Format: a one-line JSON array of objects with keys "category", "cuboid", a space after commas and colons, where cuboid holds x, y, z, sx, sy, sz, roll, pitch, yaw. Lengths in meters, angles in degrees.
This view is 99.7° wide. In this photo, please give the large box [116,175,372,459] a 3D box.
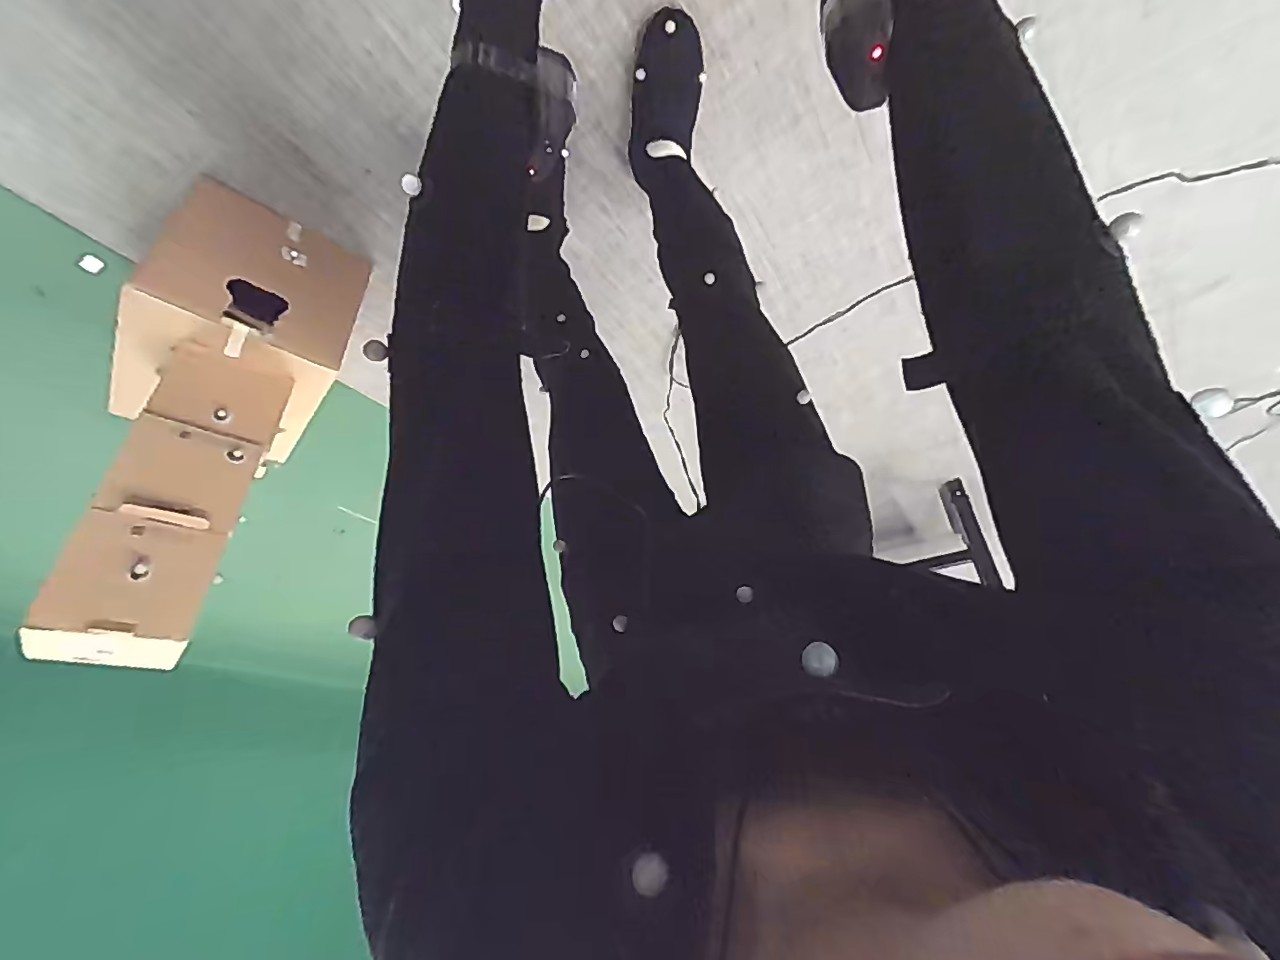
[{"category": "large box", "cuboid": [-0.800, -0.304, 1.109, 0.320, 0.320, 0.408, 25, 140, -35]}]

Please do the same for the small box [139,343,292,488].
[{"category": "small box", "cuboid": [-0.752, -0.111, 0.961, 0.179, 0.176, 0.168, 24, 139, -36]}]

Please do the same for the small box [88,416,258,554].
[{"category": "small box", "cuboid": [-0.745, 0.025, 0.870, 0.168, 0.176, 0.179, 23, 140, -35]}]

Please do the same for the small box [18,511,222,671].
[{"category": "small box", "cuboid": [-0.741, 0.164, 0.783, 0.168, 0.176, 0.179, 24, 138, -35]}]
